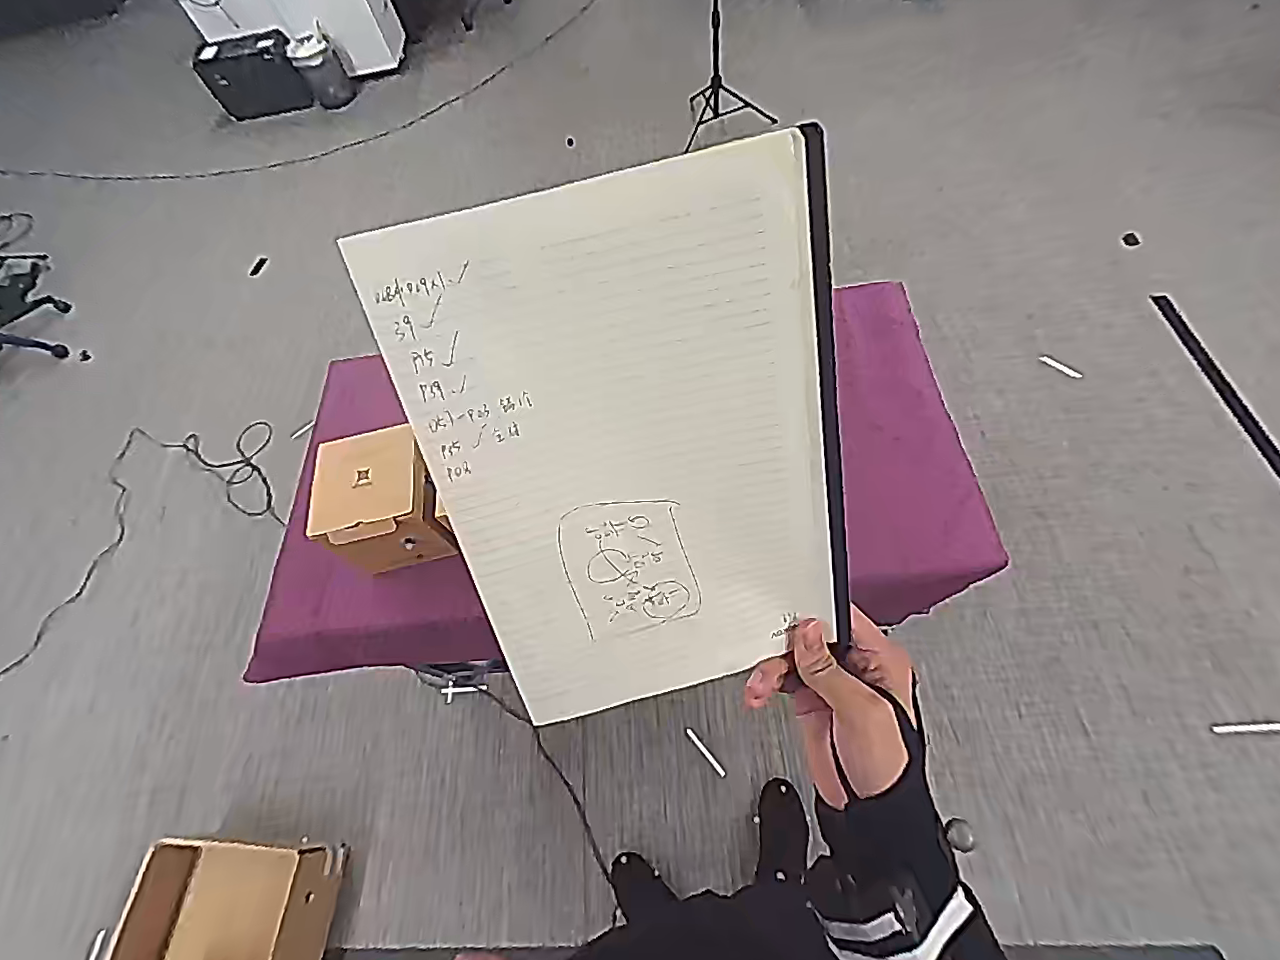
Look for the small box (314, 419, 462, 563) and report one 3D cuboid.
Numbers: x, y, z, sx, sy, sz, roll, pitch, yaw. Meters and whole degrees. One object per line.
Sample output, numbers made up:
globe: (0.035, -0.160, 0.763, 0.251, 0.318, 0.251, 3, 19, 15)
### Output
small box: (-0.413, 0.029, 0.915, 0.168, 0.176, 0.179, -12, 61, 1)
